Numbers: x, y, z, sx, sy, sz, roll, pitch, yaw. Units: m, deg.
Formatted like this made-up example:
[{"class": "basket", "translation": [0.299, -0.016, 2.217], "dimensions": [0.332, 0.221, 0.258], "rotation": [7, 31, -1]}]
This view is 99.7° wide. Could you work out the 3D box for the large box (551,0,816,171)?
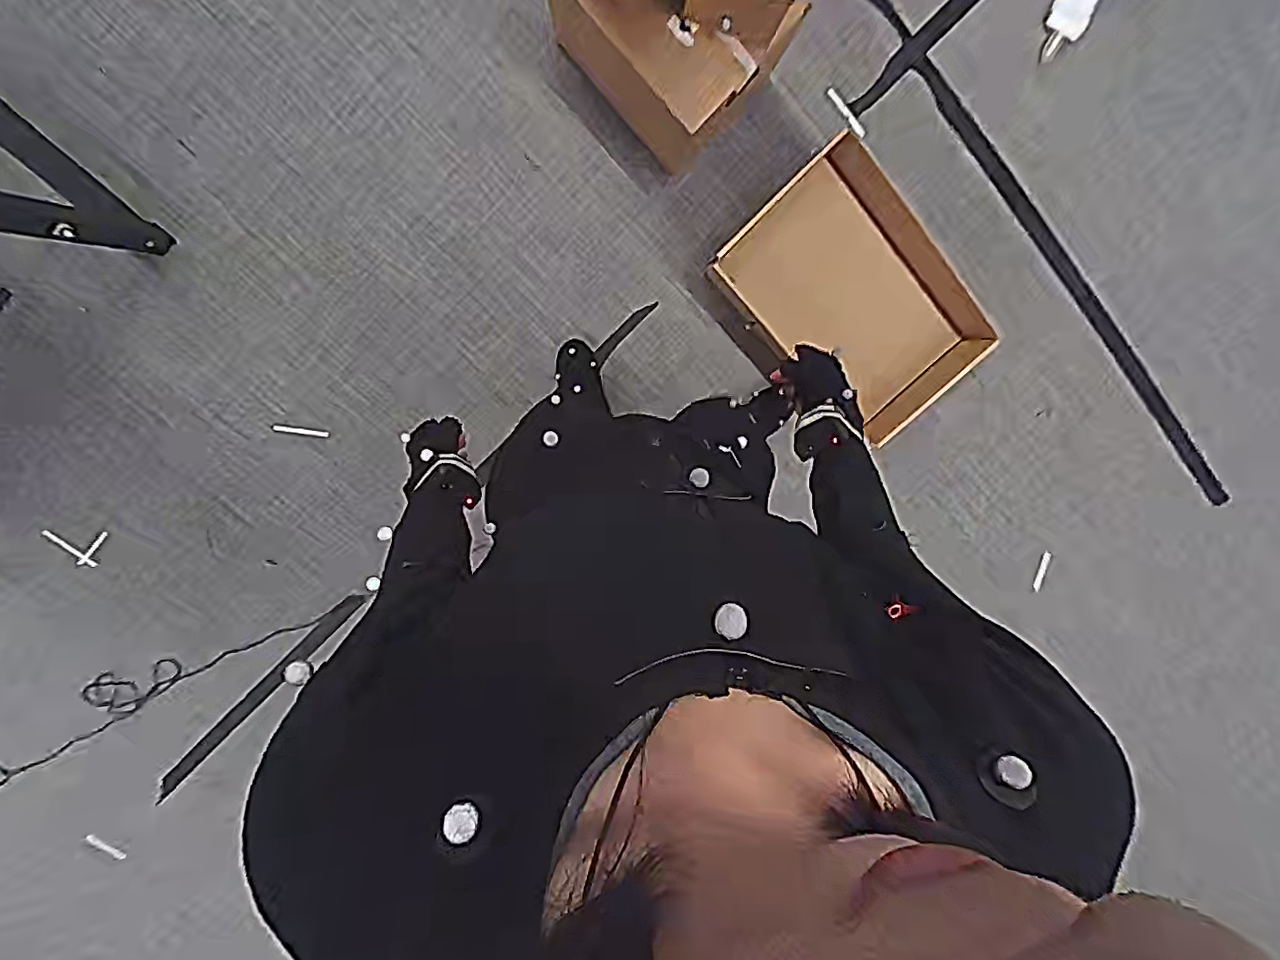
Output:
[{"class": "large box", "translation": [0.065, -0.934, 1.095], "dimensions": [0.408, 0.320, 0.320], "rotation": [43, 101, -14]}]
